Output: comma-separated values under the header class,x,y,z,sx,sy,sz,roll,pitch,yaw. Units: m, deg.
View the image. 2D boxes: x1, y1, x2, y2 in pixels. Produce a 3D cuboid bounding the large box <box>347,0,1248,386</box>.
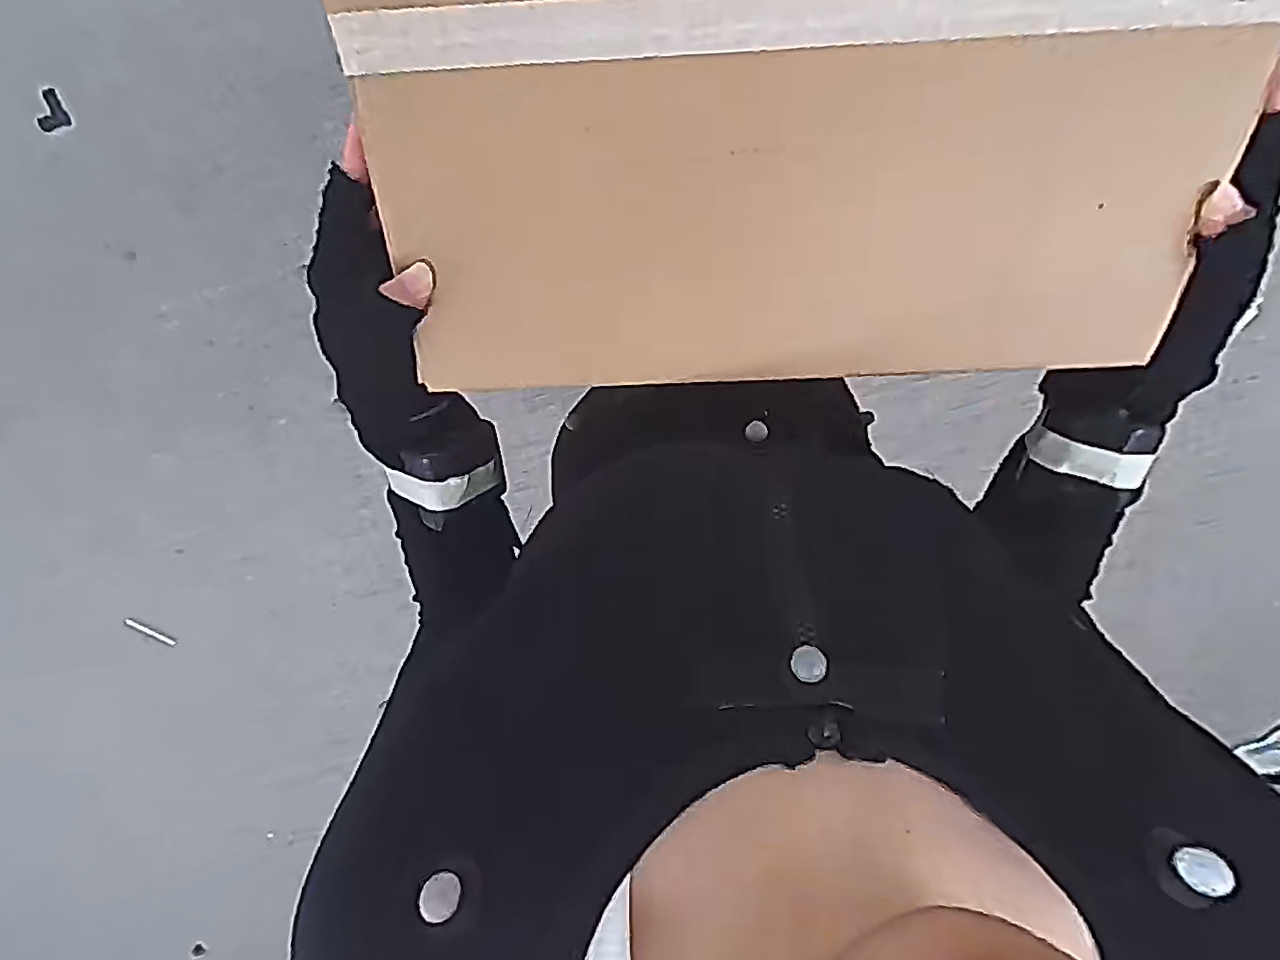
class,x,y,z,sx,sy,sz,roll,pitch,yaw
large box,0.067,-0.272,0.374,0.408,0.320,0.320,-3,119,1
